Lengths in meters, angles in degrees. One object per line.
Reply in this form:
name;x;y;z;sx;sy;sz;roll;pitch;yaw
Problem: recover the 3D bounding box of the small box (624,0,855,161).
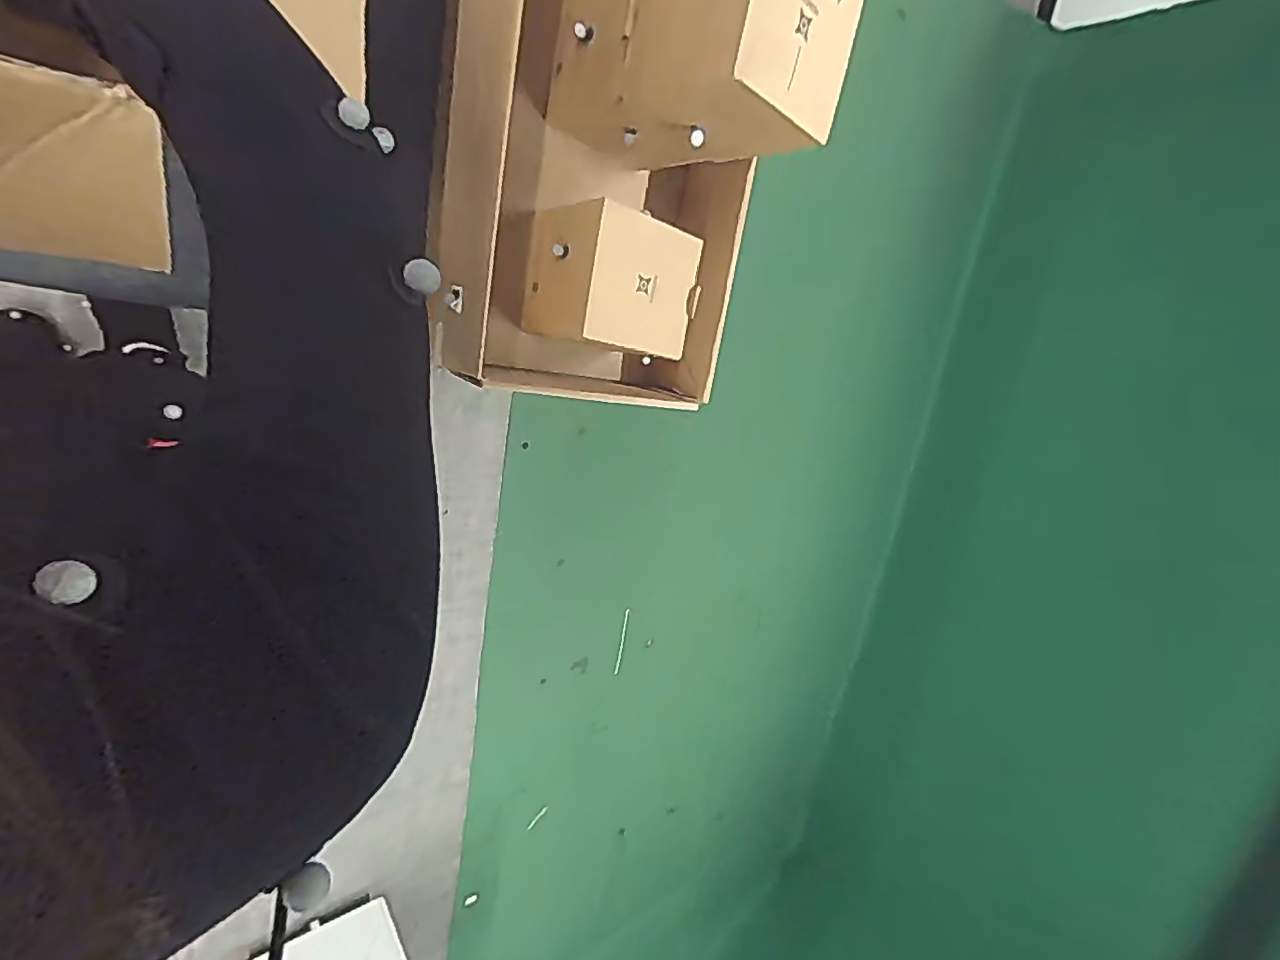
small box;0.103;-0.478;0.590;0.168;0.176;0.179;0;109;-42
